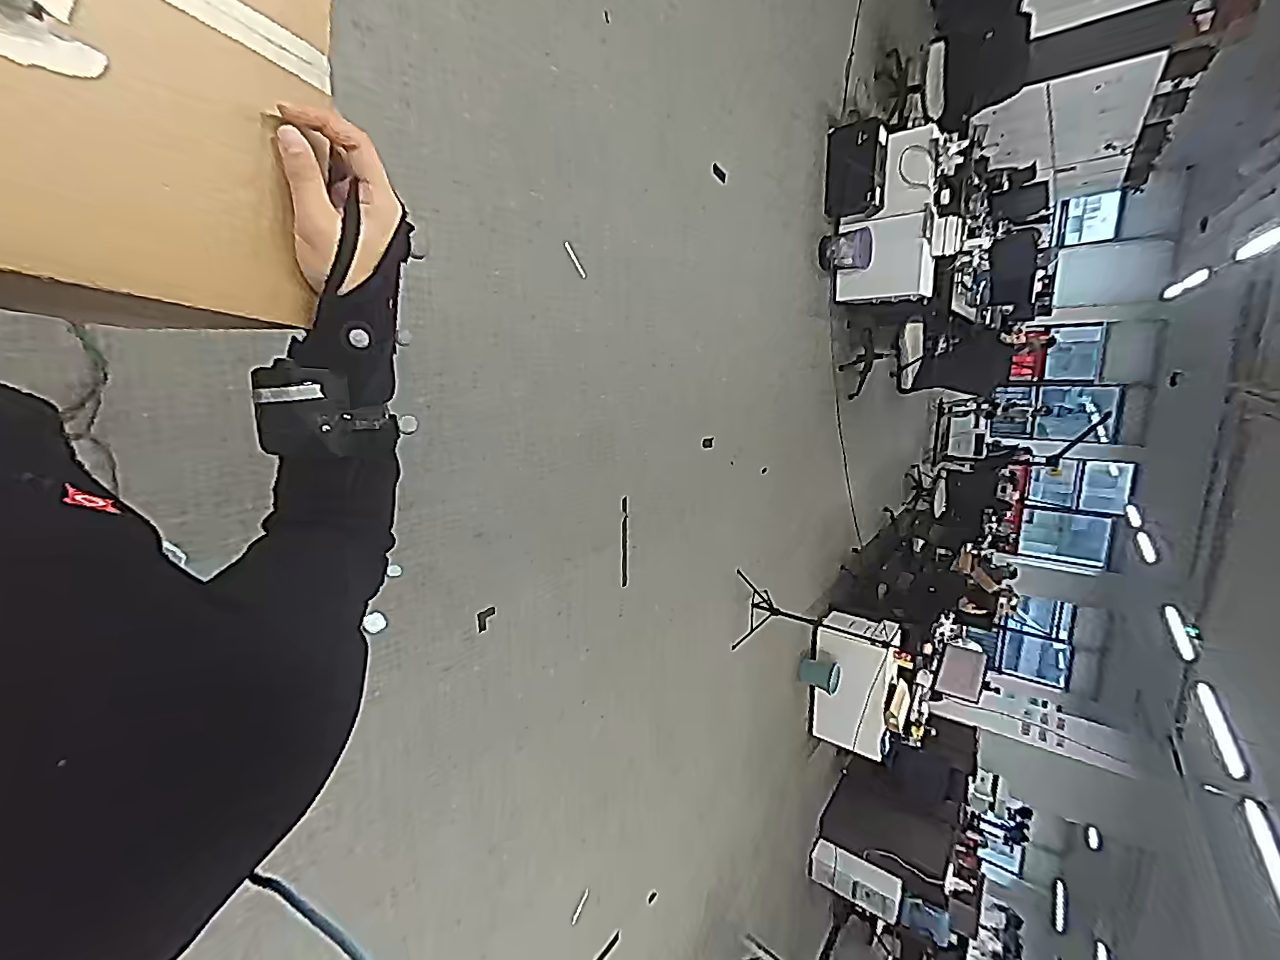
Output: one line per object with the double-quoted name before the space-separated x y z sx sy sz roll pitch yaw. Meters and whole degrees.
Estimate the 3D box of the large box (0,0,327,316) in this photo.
"large box" -0.437 -0.274 0.254 0.408 0.320 0.320 -5 103 -60
